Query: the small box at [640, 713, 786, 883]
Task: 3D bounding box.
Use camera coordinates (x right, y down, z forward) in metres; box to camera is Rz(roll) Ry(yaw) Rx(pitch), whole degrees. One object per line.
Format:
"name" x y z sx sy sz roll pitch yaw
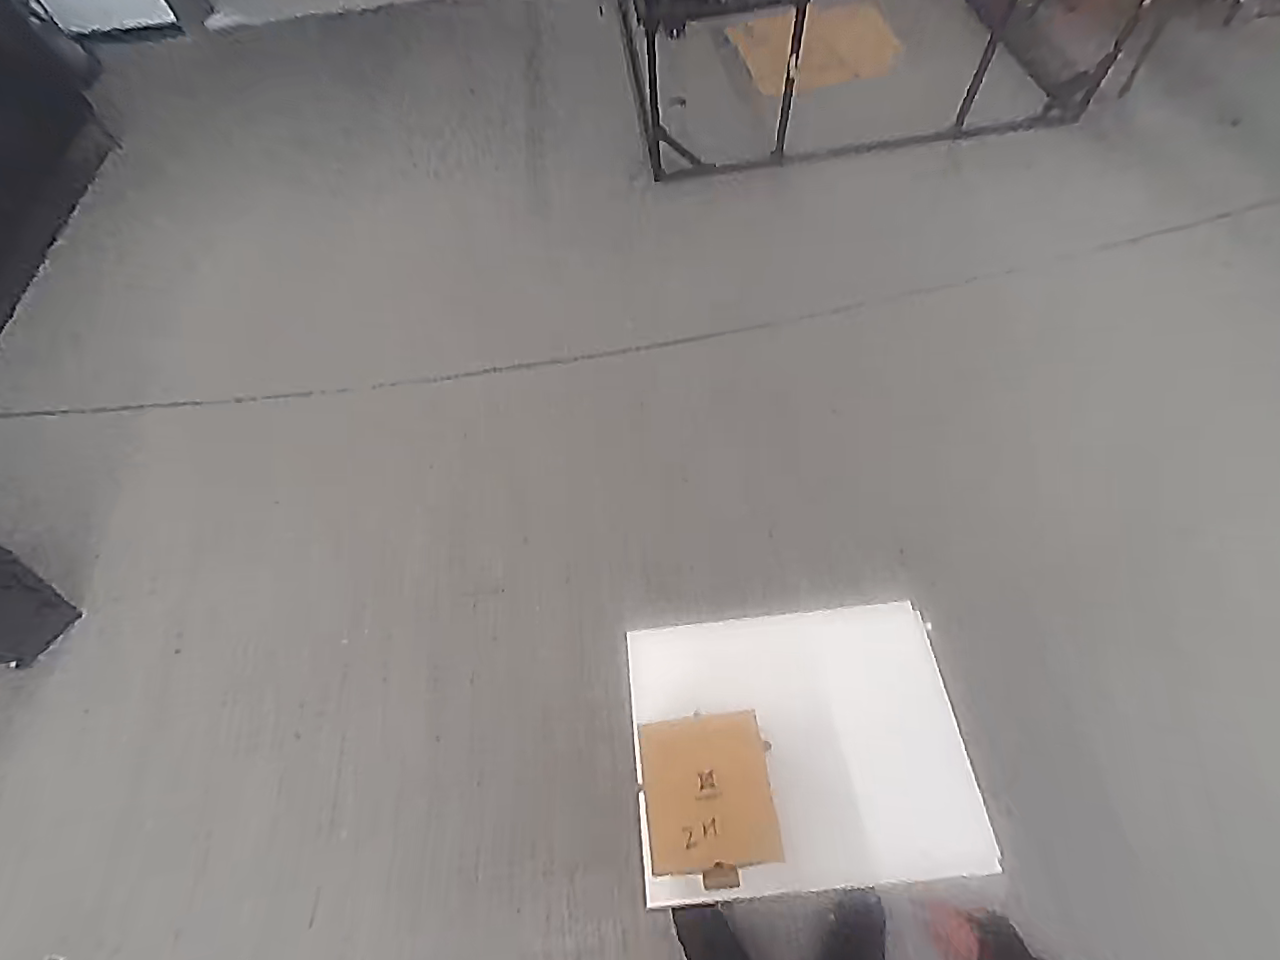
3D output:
"small box" 0.092 0.440 0.760 0.168 0.176 0.179 -8 61 1
